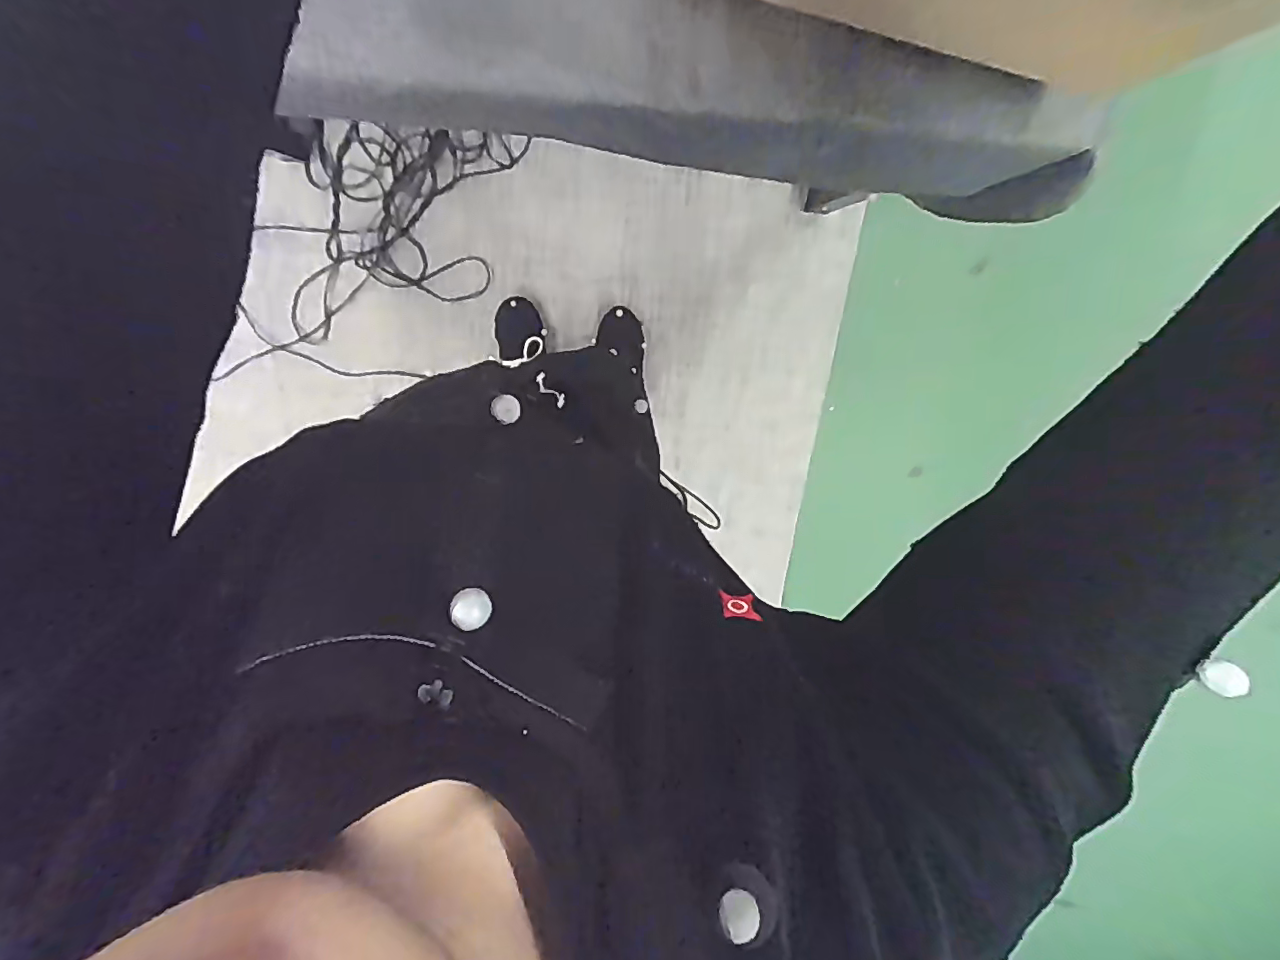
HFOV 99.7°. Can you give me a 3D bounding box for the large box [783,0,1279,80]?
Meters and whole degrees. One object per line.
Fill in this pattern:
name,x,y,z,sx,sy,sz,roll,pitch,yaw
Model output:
large box,0.231,-0.464,0.261,0.408,0.320,0.320,13,112,-3
